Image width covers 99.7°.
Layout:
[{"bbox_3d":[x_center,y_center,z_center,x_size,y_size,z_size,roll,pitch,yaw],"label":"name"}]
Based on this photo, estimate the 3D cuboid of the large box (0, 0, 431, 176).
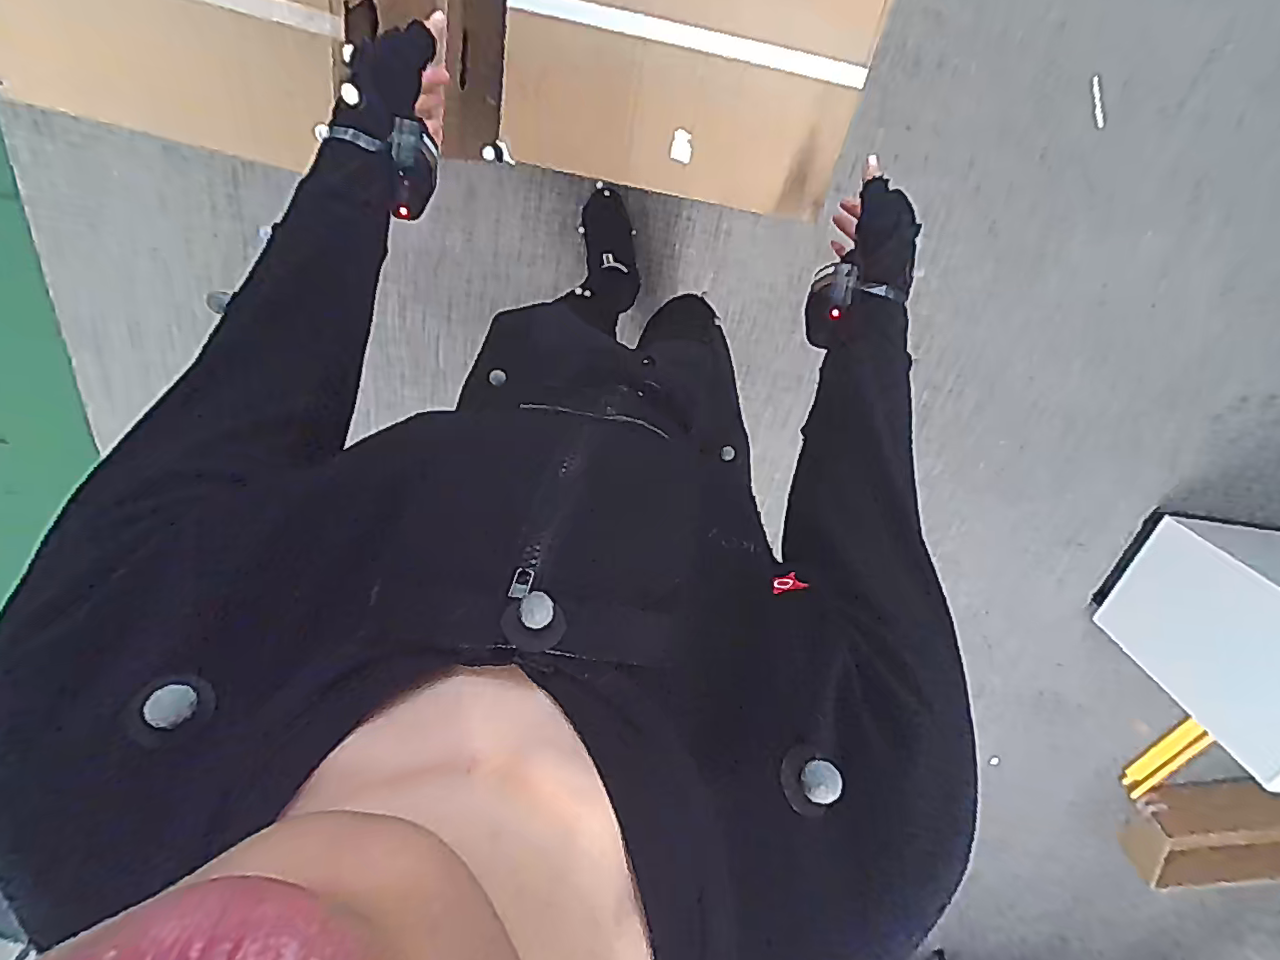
[{"bbox_3d":[-0.528,-0.625,0.710,0.408,0.320,0.320,14,121,-4],"label":"large box"}]
